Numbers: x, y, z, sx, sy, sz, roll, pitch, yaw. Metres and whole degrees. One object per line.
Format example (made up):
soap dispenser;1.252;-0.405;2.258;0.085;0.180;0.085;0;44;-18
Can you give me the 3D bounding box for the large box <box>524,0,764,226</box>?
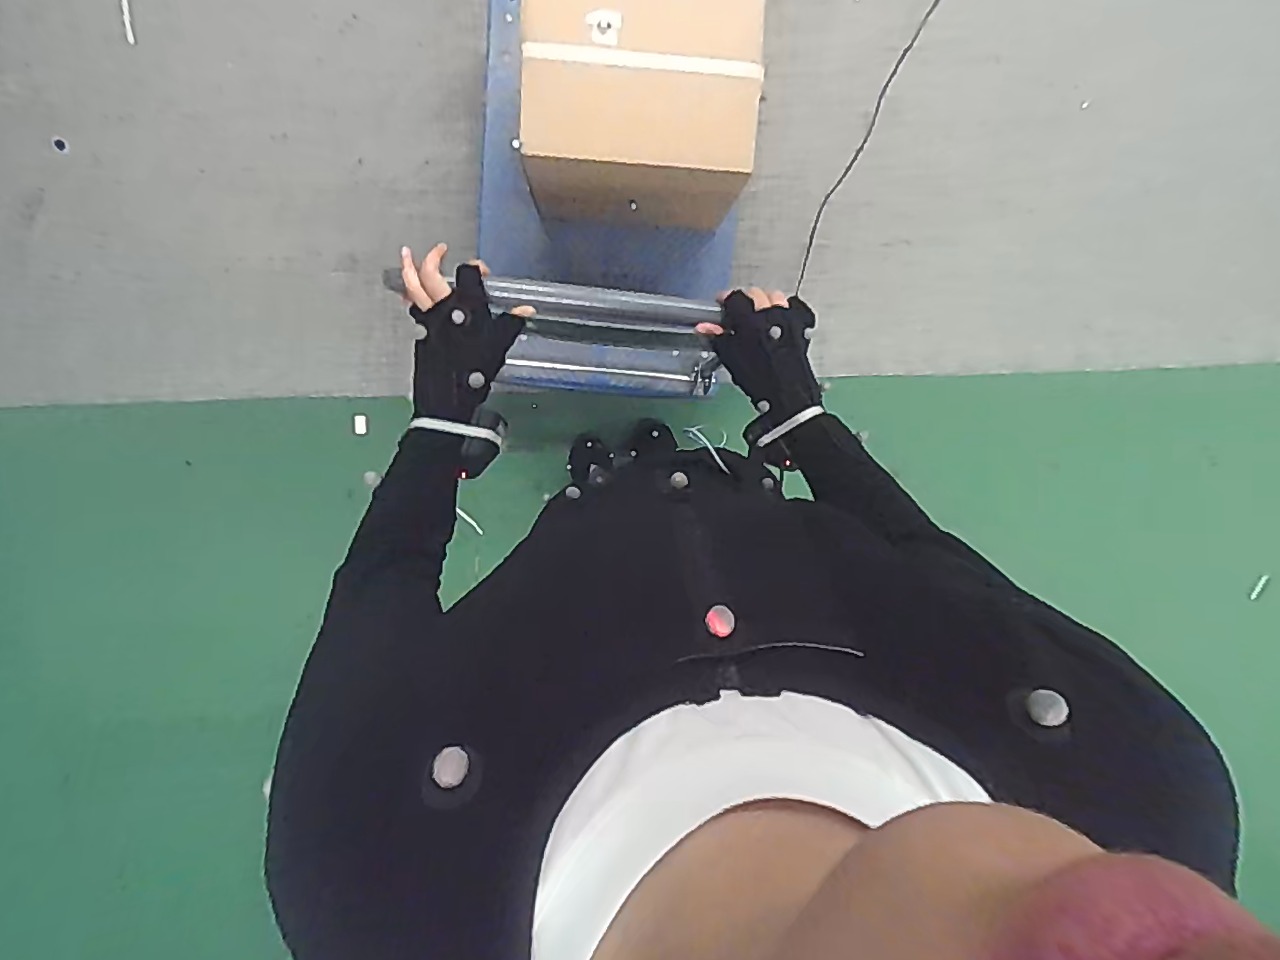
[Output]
large box;0.000;-0.713;1.056;0.408;0.320;0.320;2;96;-4
